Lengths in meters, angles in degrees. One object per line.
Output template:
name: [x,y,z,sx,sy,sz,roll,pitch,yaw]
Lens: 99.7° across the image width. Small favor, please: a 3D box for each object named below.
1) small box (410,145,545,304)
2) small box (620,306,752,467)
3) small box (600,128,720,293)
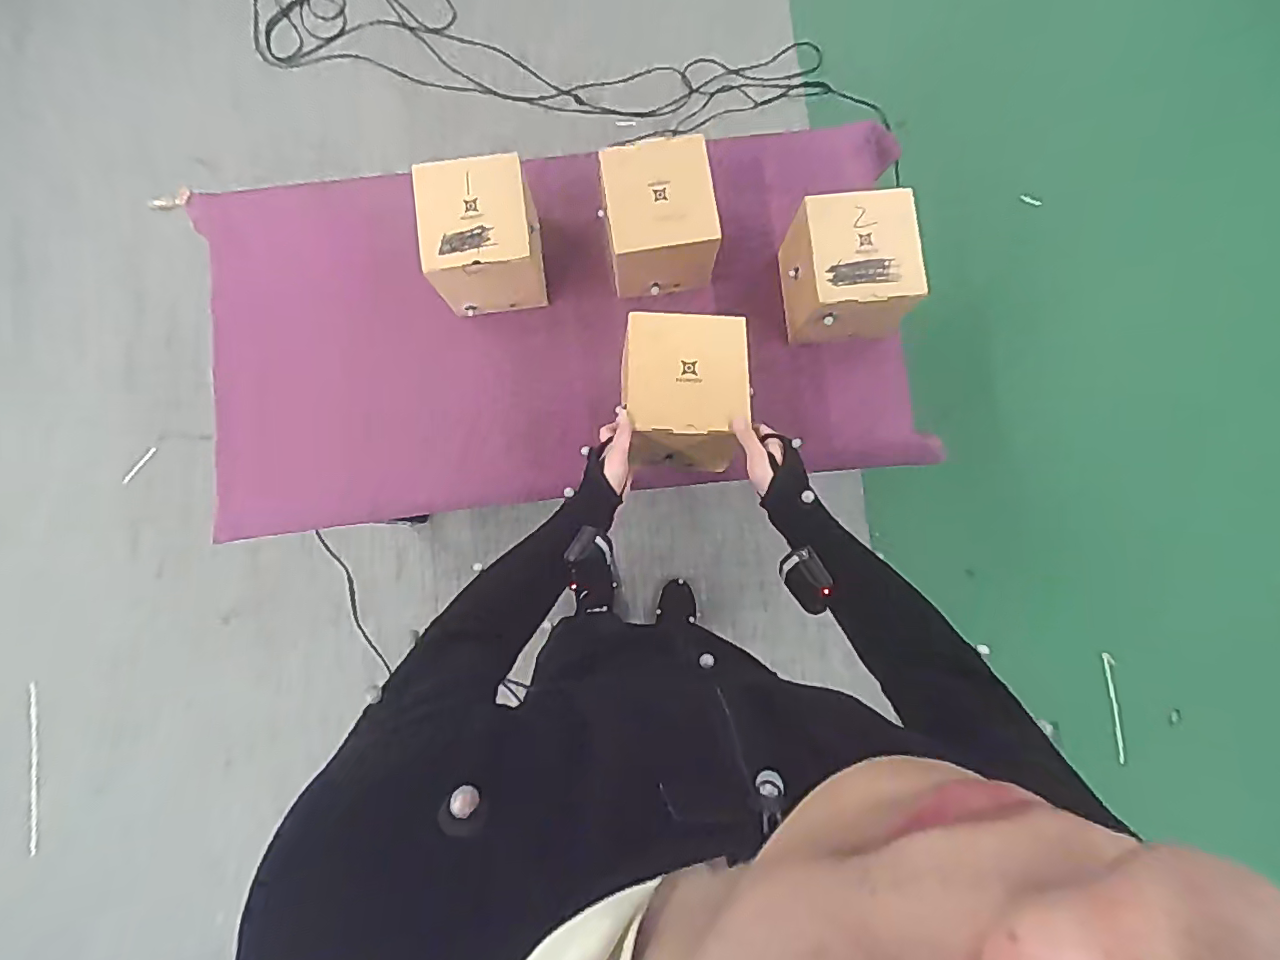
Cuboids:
small box: [-0.256,-0.403,0.885,0.168,0.176,0.179,-7,84,-2]
small box: [0.058,-0.129,0.792,0.168,0.176,0.179,1,76,-5]
small box: [0.027,-0.435,0.895,0.168,0.176,0.179,-9,85,-1]
